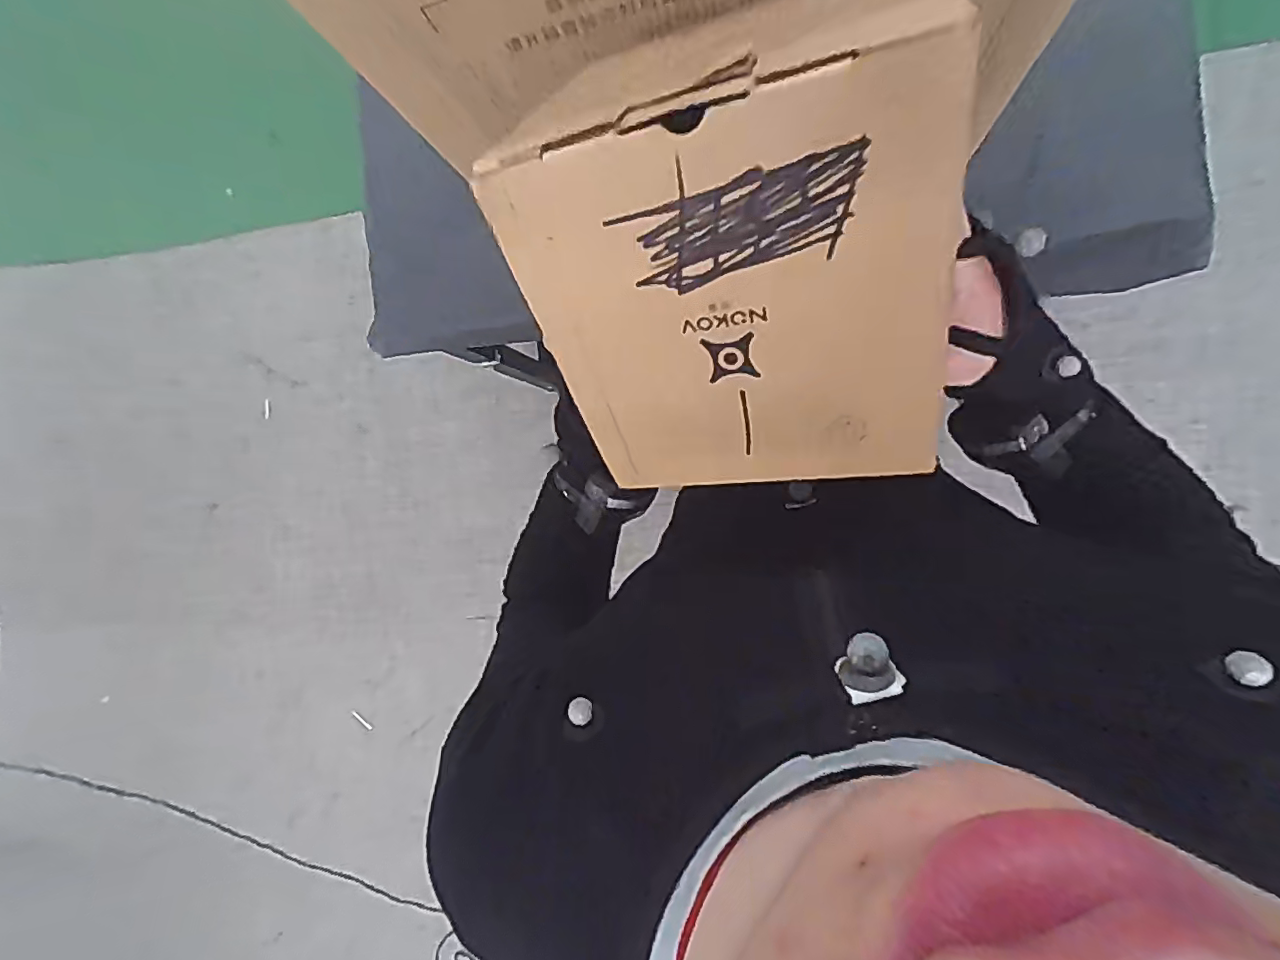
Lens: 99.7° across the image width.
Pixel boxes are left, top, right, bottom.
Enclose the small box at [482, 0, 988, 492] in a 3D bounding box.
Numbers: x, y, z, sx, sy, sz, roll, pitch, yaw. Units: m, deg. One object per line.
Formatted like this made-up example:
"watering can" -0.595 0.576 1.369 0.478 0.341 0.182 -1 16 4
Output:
"small box" 0.056 -0.115 0.278 0.168 0.179 0.176 -3 47 21
